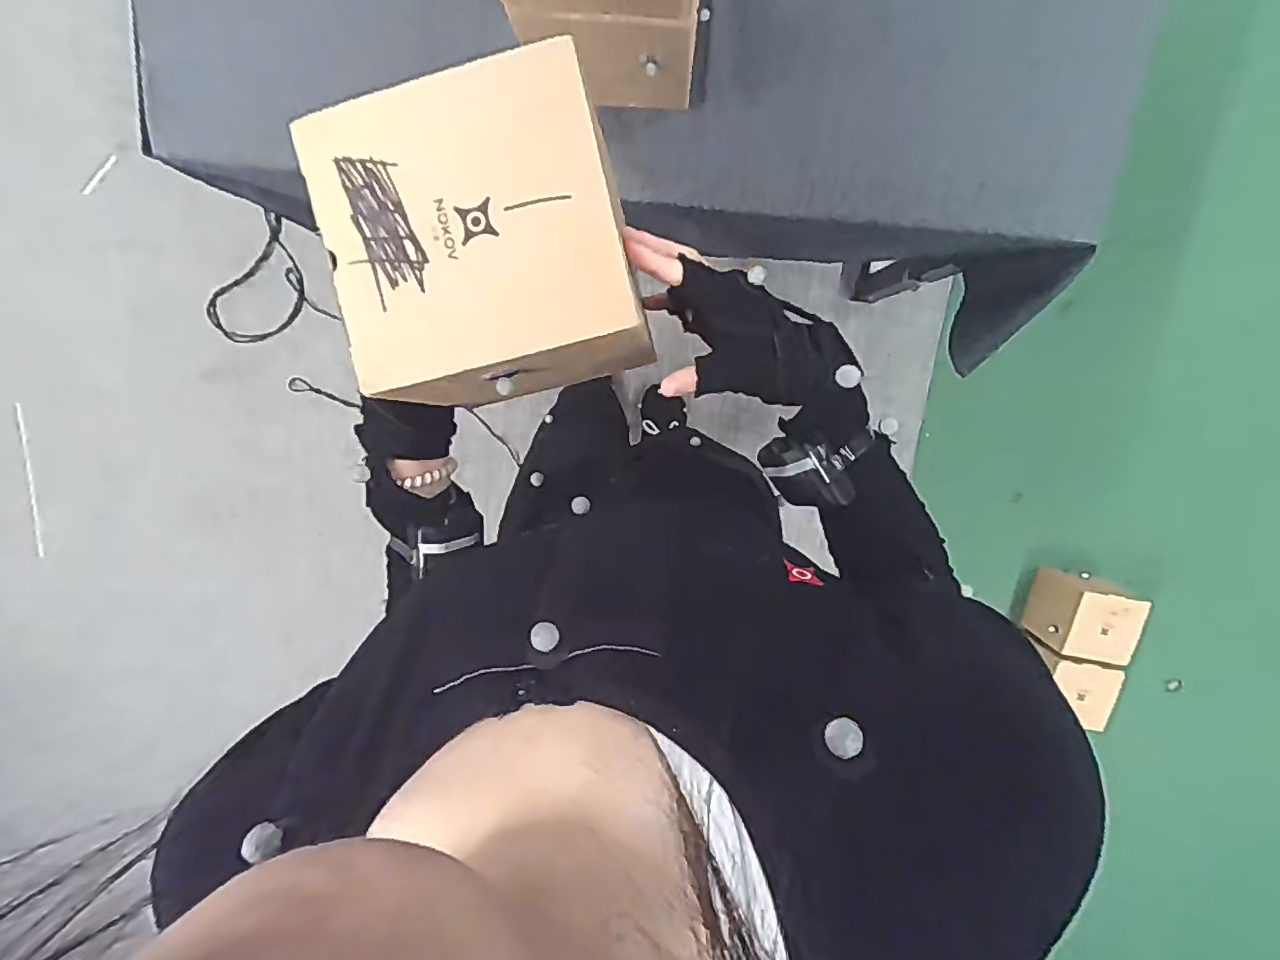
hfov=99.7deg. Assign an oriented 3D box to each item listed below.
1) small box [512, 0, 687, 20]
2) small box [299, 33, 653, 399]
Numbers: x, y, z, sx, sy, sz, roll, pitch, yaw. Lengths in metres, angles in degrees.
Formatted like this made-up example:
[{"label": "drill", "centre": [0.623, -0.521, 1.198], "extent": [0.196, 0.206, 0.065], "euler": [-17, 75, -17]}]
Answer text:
[{"label": "small box", "centre": [-0.031, -0.488, 0.402], "extent": [0.179, 0.176, 0.168], "euler": [5, 102, 2]}, {"label": "small box", "centre": [-0.095, -0.160, 0.396], "extent": [0.179, 0.176, 0.168], "euler": [-13, 94, 5]}]
